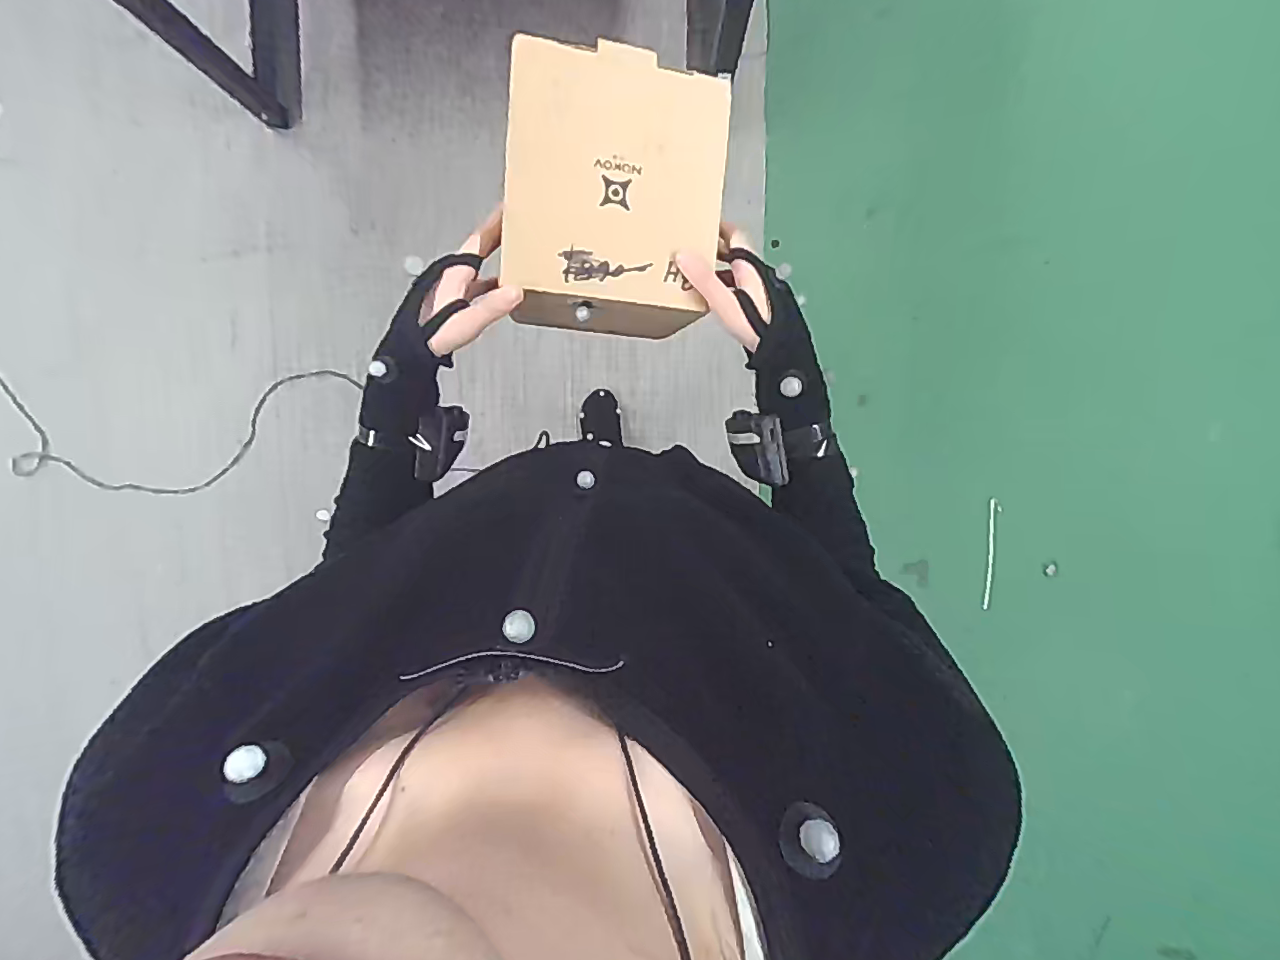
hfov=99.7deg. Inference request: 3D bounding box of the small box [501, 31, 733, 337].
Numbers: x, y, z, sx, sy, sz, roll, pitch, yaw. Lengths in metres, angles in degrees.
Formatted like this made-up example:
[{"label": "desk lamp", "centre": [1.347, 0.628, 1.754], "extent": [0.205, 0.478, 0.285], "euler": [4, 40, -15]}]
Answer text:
[{"label": "small box", "centre": [-0.030, -0.237, 0.486], "extent": [0.168, 0.176, 0.179], "euler": [5, 96, -10]}]
